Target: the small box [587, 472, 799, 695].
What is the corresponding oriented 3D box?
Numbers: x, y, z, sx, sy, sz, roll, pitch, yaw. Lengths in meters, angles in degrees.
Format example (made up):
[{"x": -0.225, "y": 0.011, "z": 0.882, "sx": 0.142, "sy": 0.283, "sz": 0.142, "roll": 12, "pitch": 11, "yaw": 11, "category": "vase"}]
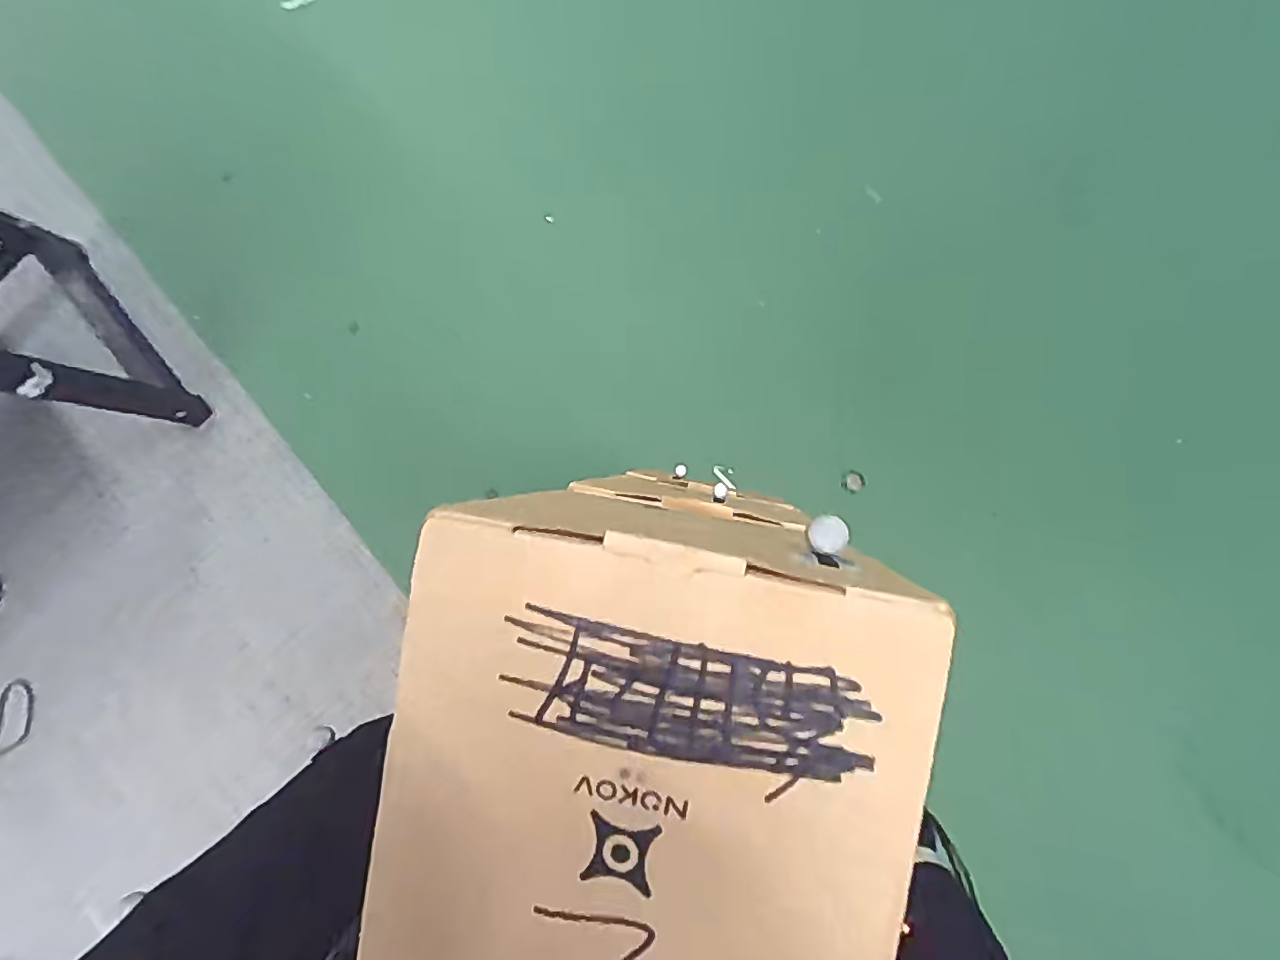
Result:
[{"x": 0.055, "y": 0.091, "z": 0.570, "sx": 0.168, "sy": 0.176, "sz": 0.179, "roll": 12, "pitch": 94, "yaw": 8, "category": "small box"}]
